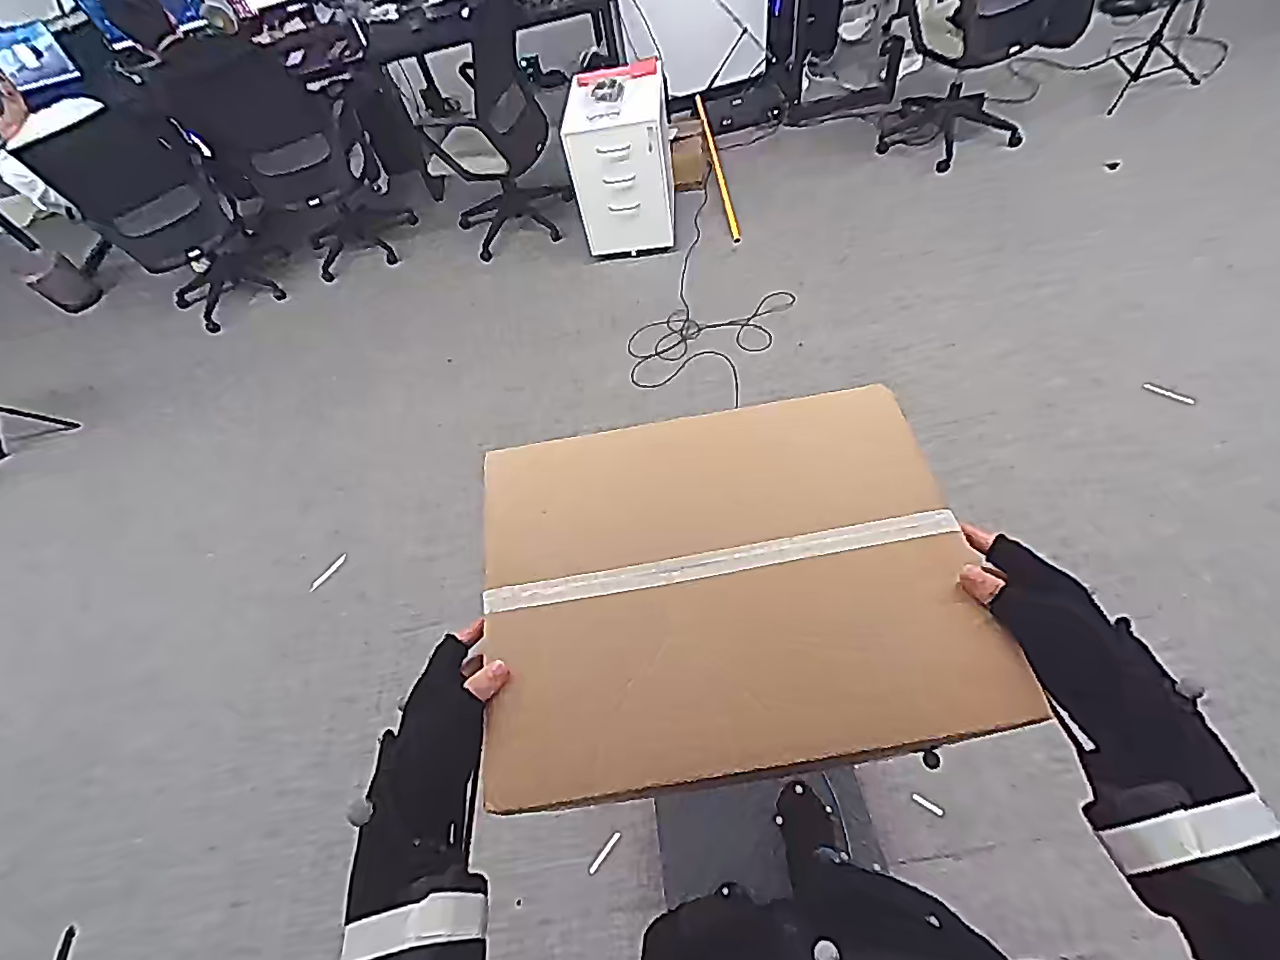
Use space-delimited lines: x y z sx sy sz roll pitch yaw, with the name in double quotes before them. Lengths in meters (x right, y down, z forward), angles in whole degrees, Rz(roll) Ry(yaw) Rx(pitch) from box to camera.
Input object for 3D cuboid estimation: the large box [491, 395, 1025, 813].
"large box" 0.083 0.150 0.598 0.408 0.320 0.320 -10 58 0
